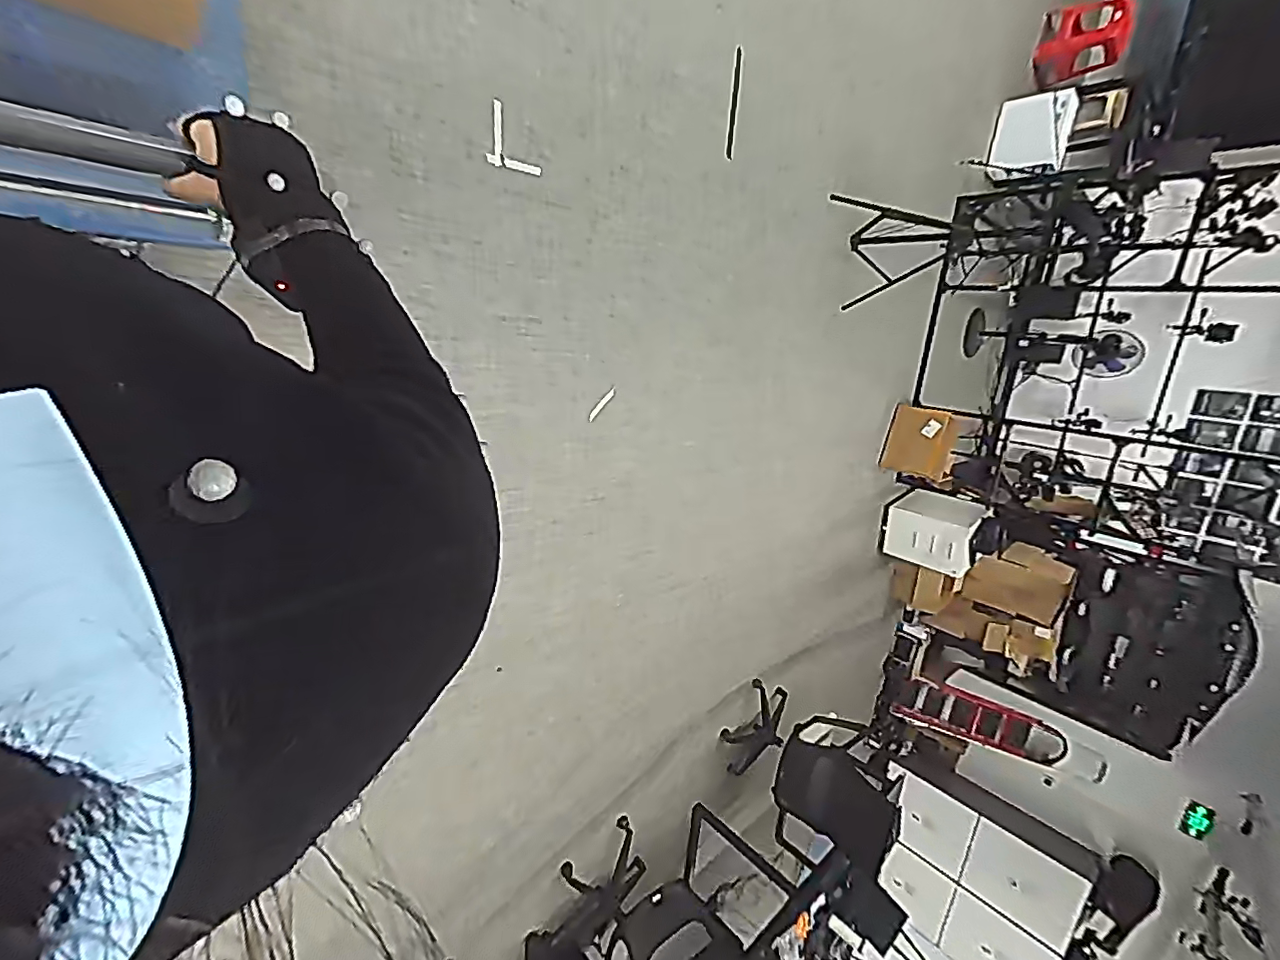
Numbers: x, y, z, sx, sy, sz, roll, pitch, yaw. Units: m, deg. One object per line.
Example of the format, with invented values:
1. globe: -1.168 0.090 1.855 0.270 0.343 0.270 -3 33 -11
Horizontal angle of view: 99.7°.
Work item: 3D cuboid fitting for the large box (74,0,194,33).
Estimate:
1. large box: -0.814 -0.838 0.650 0.408 0.320 0.320 -9 110 -42
